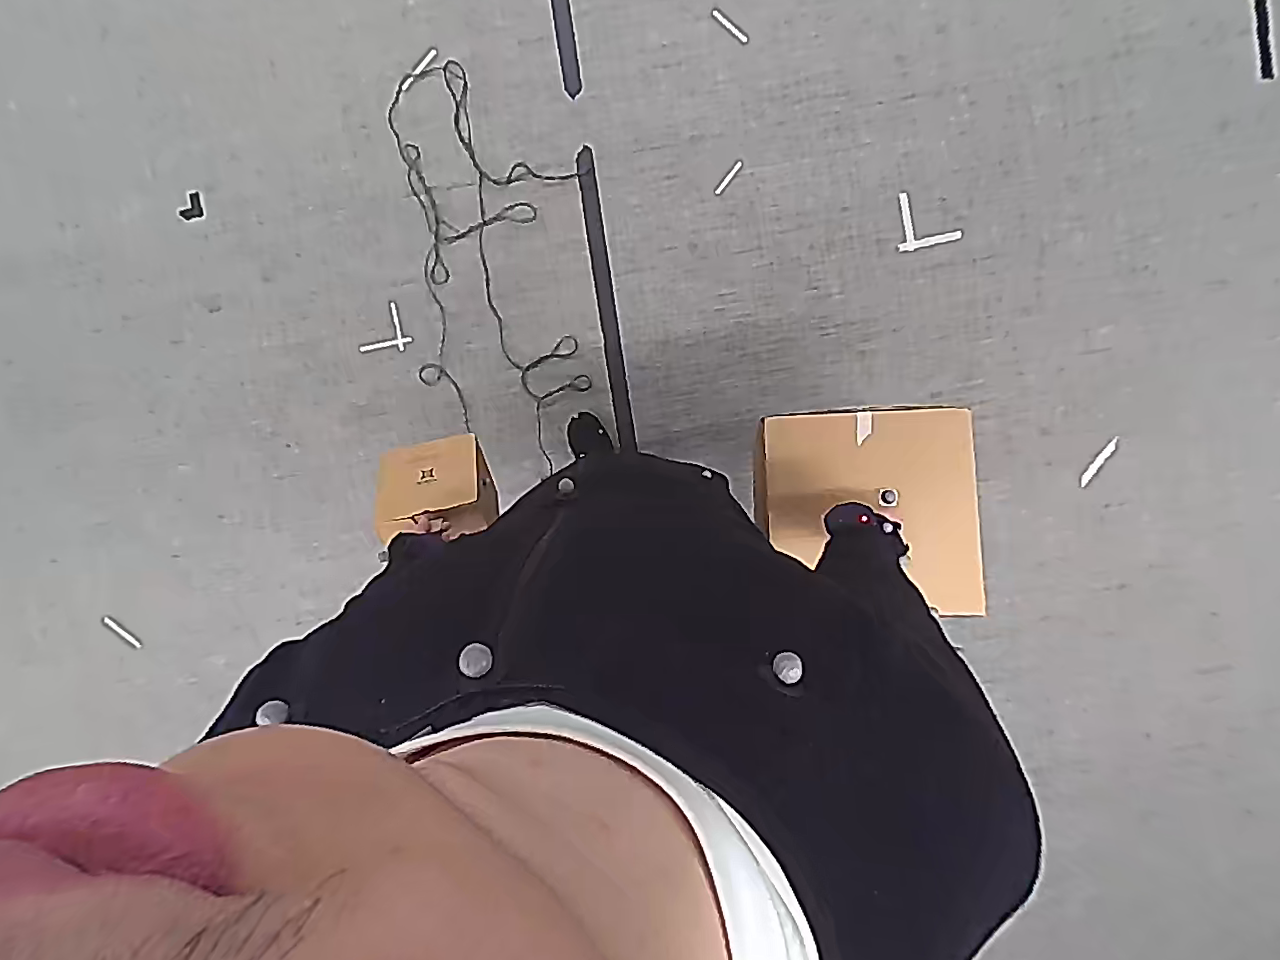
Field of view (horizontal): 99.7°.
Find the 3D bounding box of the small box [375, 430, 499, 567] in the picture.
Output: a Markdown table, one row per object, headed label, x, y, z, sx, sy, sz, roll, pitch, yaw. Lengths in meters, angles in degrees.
| label | x | y | z | sx | sy | sz | roll | pitch | yaw |
| --- | --- | --- | --- | --- | --- | --- | --- | --- | --- |
| small box | -0.358 | 0.041 | 0.978 | 0.168 | 0.176 | 0.179 | -12 | 50 | -8 |
